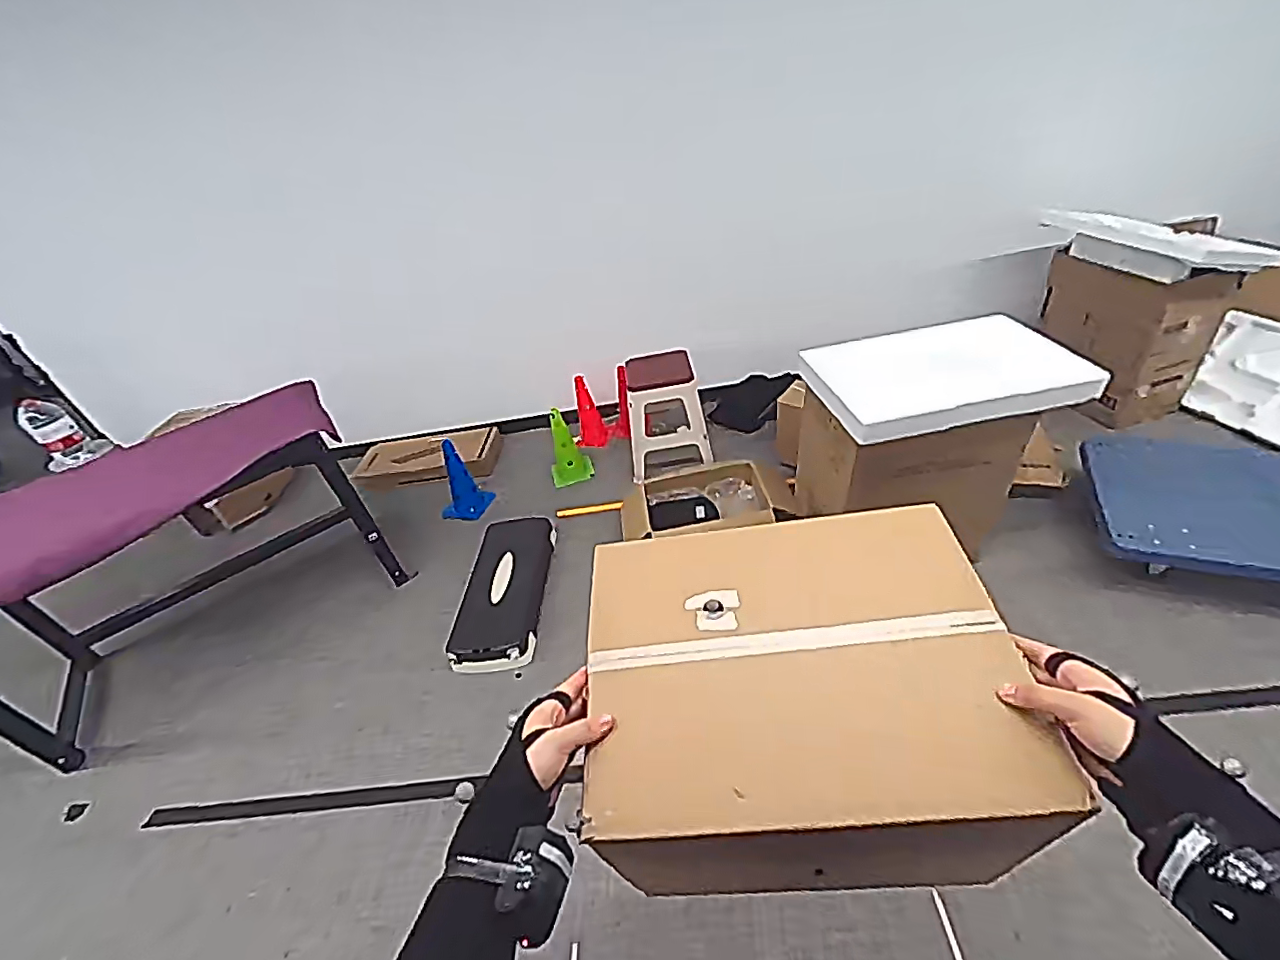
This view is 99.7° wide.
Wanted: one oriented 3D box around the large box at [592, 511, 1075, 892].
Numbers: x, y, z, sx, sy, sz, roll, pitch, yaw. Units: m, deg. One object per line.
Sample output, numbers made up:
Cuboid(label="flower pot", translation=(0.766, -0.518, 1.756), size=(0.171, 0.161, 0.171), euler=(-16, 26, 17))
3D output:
Cuboid(label="large box", translation=(0.177, 0.277, 0.655), size=(0.408, 0.320, 0.320), euler=(-9, 43, 7))
